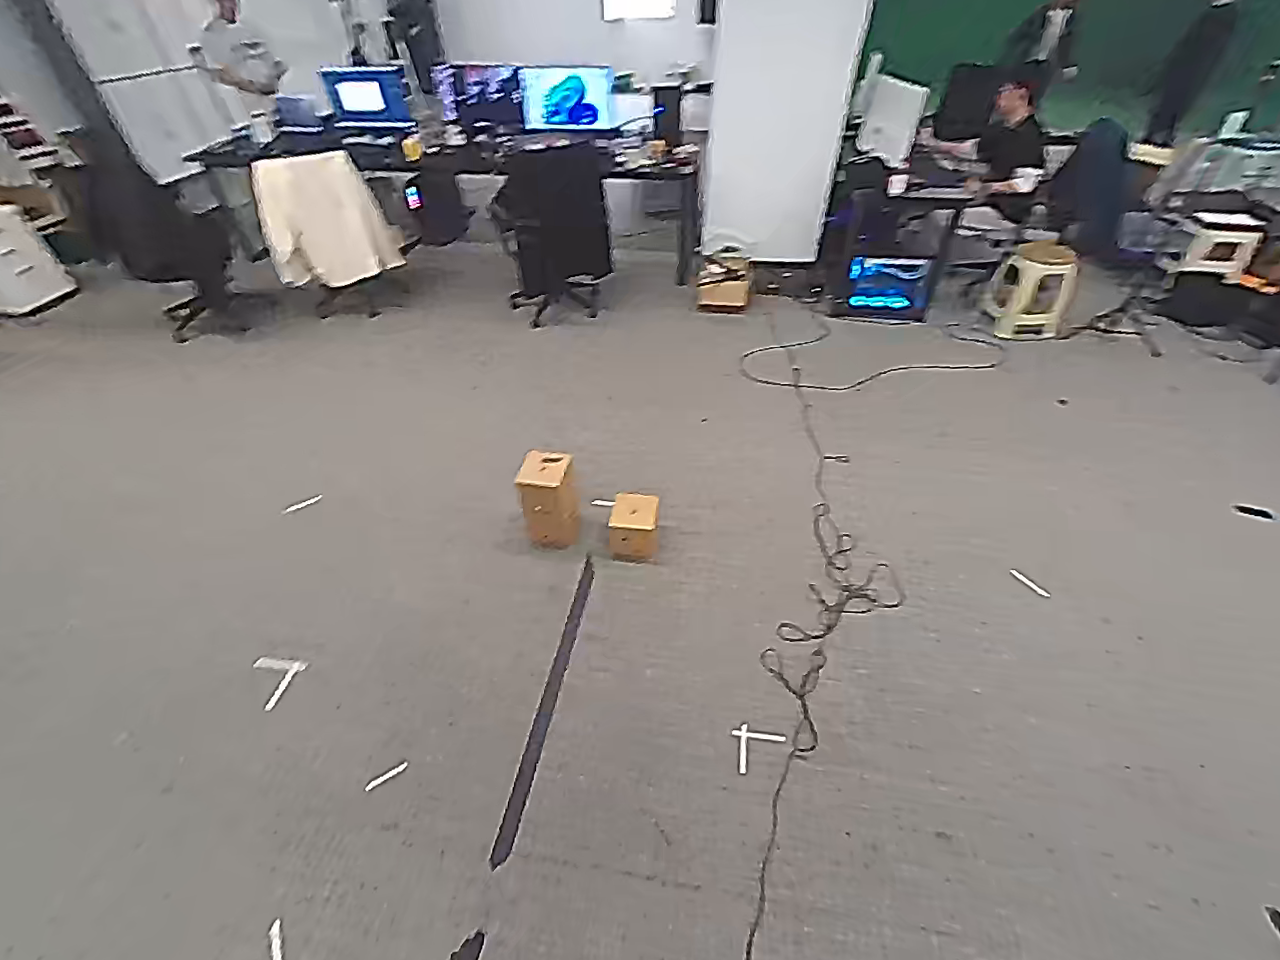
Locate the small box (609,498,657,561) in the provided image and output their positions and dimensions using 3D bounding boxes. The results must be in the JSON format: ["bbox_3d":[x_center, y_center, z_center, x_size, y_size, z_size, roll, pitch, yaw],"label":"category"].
[{"bbox_3d":[-0.022,0.195,2.098,0.168,0.176,0.179,4,42,6],"label":"small box"}]

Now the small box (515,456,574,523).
[{"bbox_3d":[-0.351,0.036,2.035,0.168,0.176,0.179,7,44,9],"label":"small box"}]
